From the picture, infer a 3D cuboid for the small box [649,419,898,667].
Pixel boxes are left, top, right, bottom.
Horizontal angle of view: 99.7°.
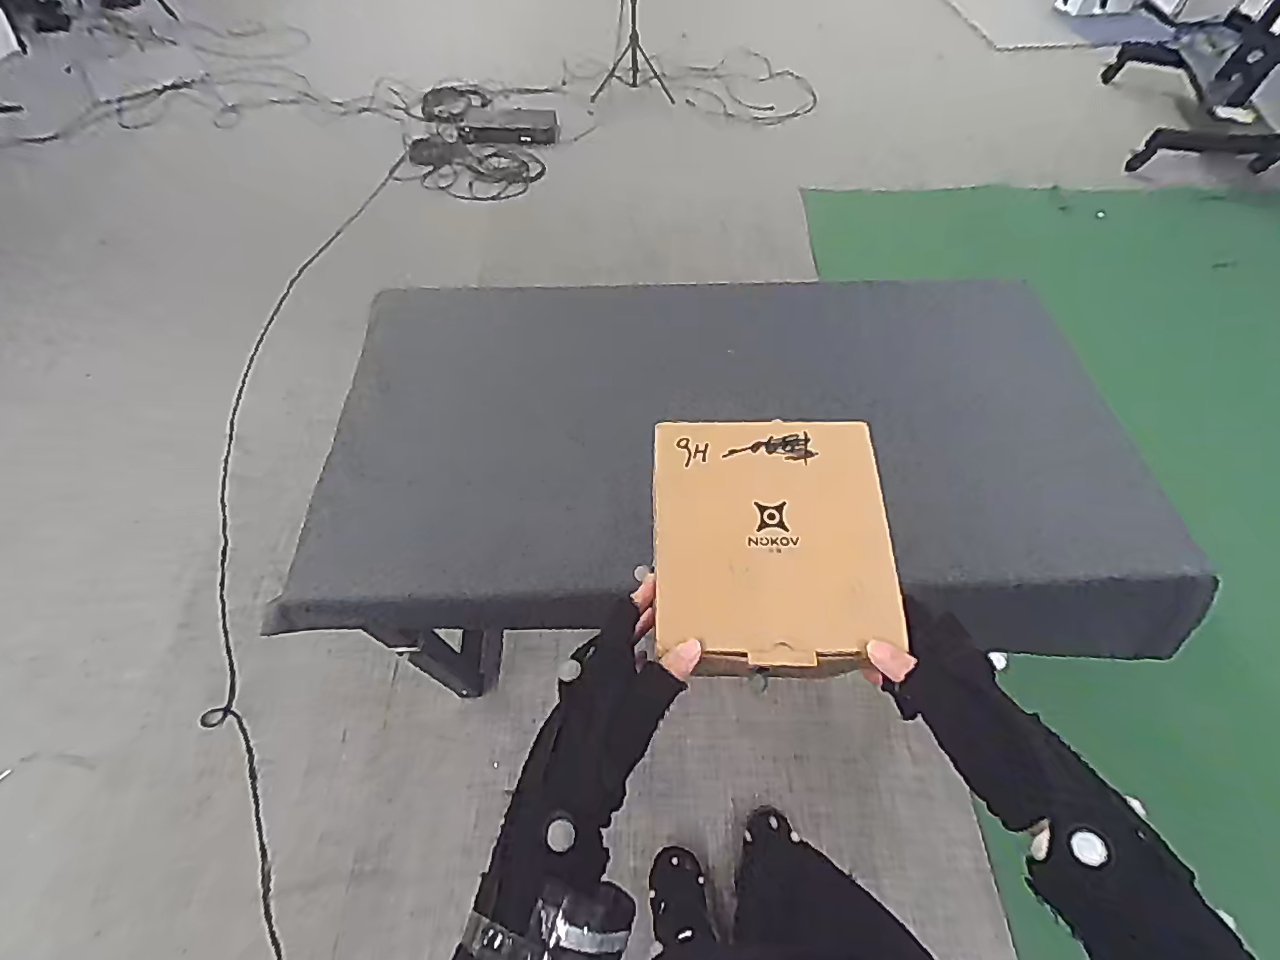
[{"bbox_3d":[0.093,0.065,0.462,0.168,0.176,0.179,-1,67,2],"label":"small box"}]
